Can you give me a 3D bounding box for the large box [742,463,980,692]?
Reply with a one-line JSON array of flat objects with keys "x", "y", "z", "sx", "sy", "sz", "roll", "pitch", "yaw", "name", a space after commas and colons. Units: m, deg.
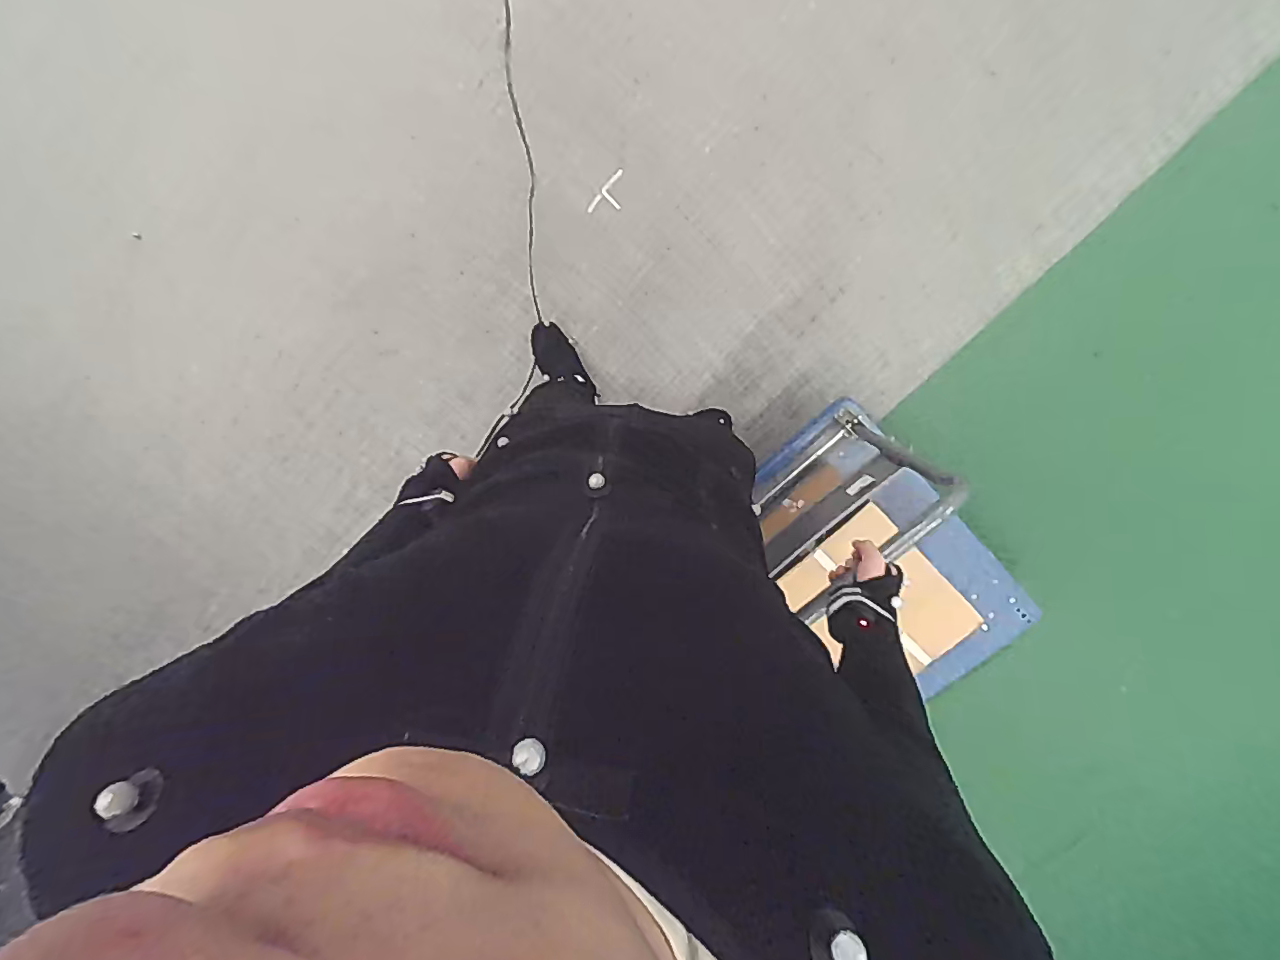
[{"x": 0.520, "y": 0.227, "z": 1.352, "sx": 0.408, "sy": 0.320, "sz": 0.320, "roll": 44, "pitch": 104, "yaw": -11, "name": "large box"}]
